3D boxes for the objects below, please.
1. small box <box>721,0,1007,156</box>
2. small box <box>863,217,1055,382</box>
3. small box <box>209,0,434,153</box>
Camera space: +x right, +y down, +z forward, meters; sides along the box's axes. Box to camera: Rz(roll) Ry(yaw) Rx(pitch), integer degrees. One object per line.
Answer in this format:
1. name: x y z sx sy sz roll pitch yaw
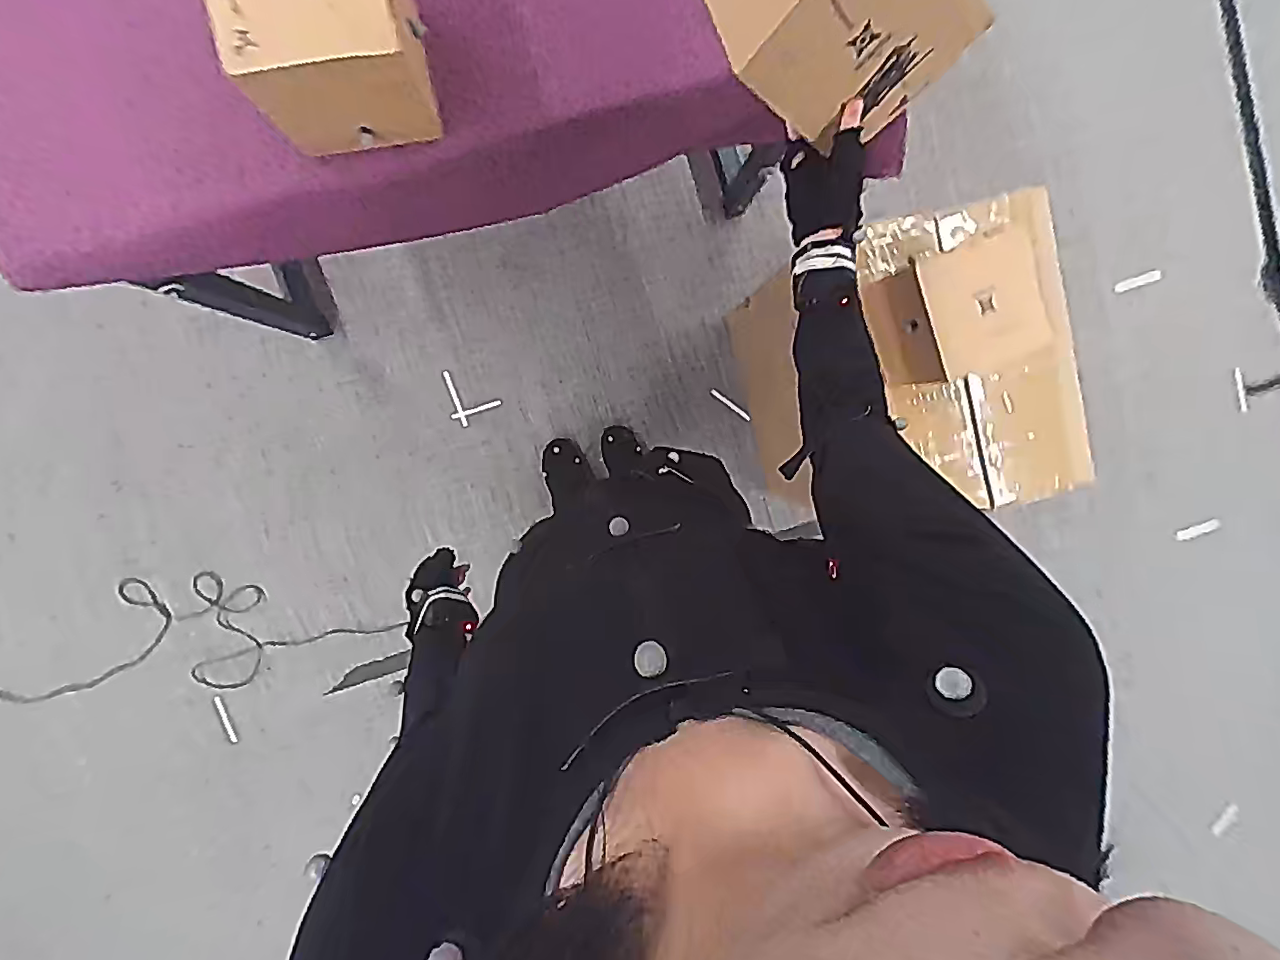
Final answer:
1. small box: 0.189 -0.455 0.493 0.179 0.168 0.176 7 62 -41
2. small box: 0.469 -0.259 0.821 0.168 0.176 0.179 -22 98 0
3. small box: -0.350 -0.506 0.616 0.179 0.176 0.168 -12 96 -5
